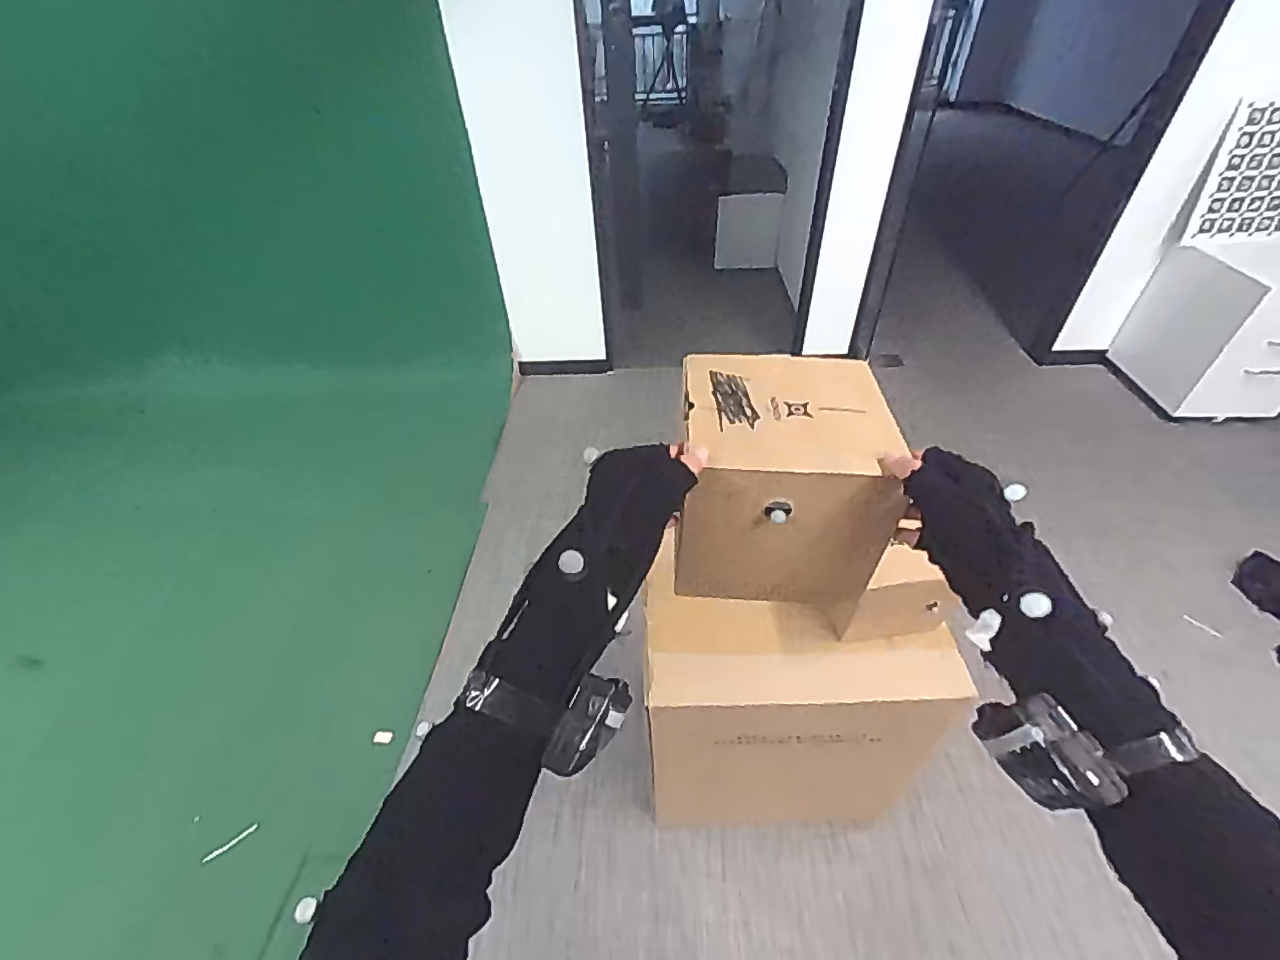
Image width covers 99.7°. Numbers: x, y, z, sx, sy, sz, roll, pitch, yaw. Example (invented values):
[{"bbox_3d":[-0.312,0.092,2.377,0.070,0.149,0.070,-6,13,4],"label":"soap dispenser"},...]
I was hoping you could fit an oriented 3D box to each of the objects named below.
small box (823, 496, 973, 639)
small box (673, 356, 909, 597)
[{"bbox_3d":[0.416,0.151,0.927,0.179,0.176,0.168,-8,45,-3],"label":"small box"},{"bbox_3d":[0.122,-0.003,0.521,0.179,0.176,0.168,3,43,2],"label":"small box"}]
